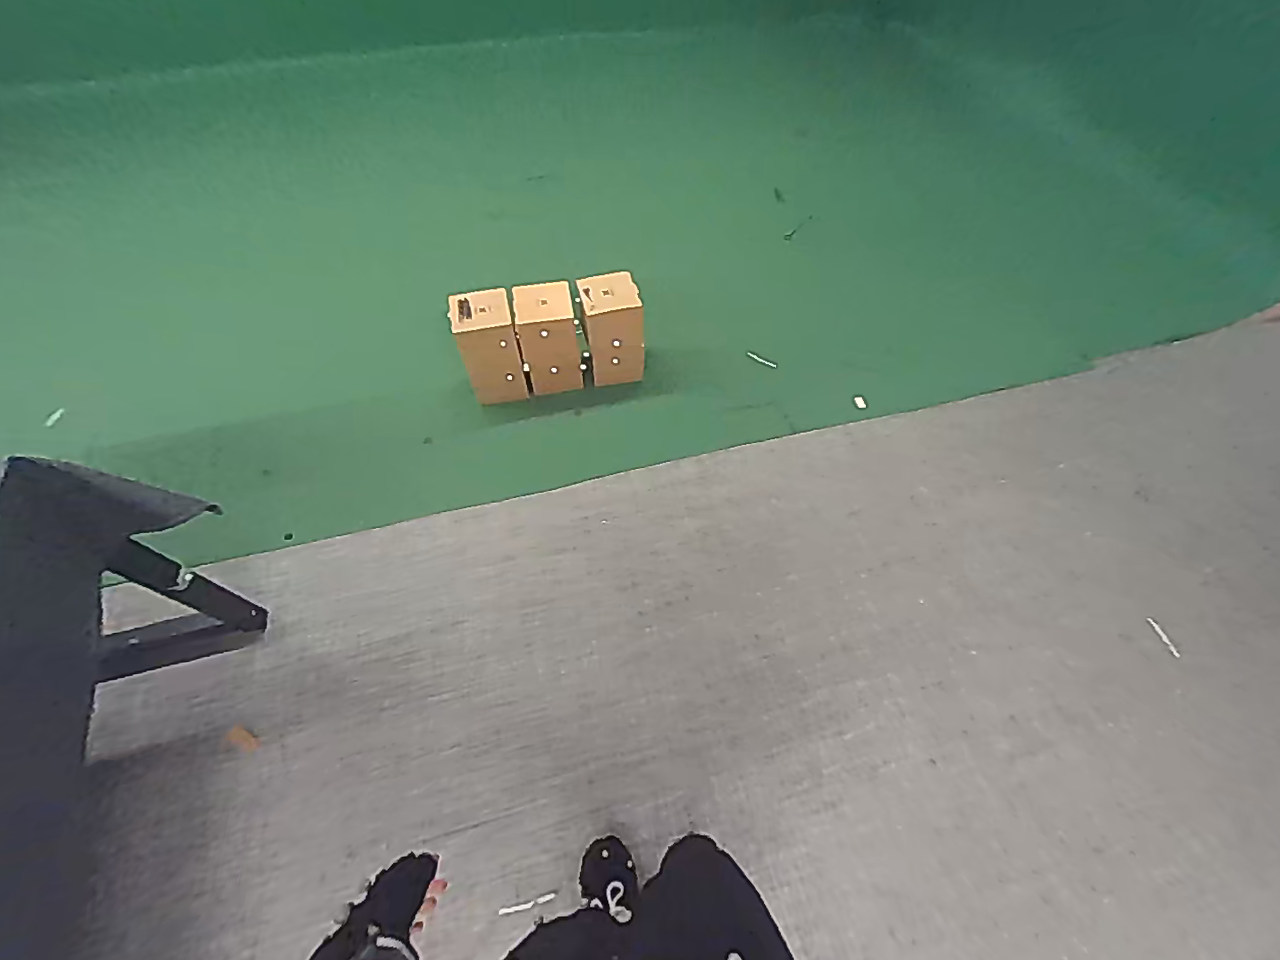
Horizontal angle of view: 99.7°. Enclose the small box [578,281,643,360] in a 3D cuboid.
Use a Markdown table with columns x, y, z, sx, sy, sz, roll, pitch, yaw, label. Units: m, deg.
| x | y | z | sx | sy | sz | roll | pitch | yaw | label |
| --- | --- | --- | --- | --- | --- | --- | --- | --- | --- |
| -0.097 | -0.511 | 1.739 | 0.179 | 0.176 | 0.168 | -12 | 59 | -9 | small box |
